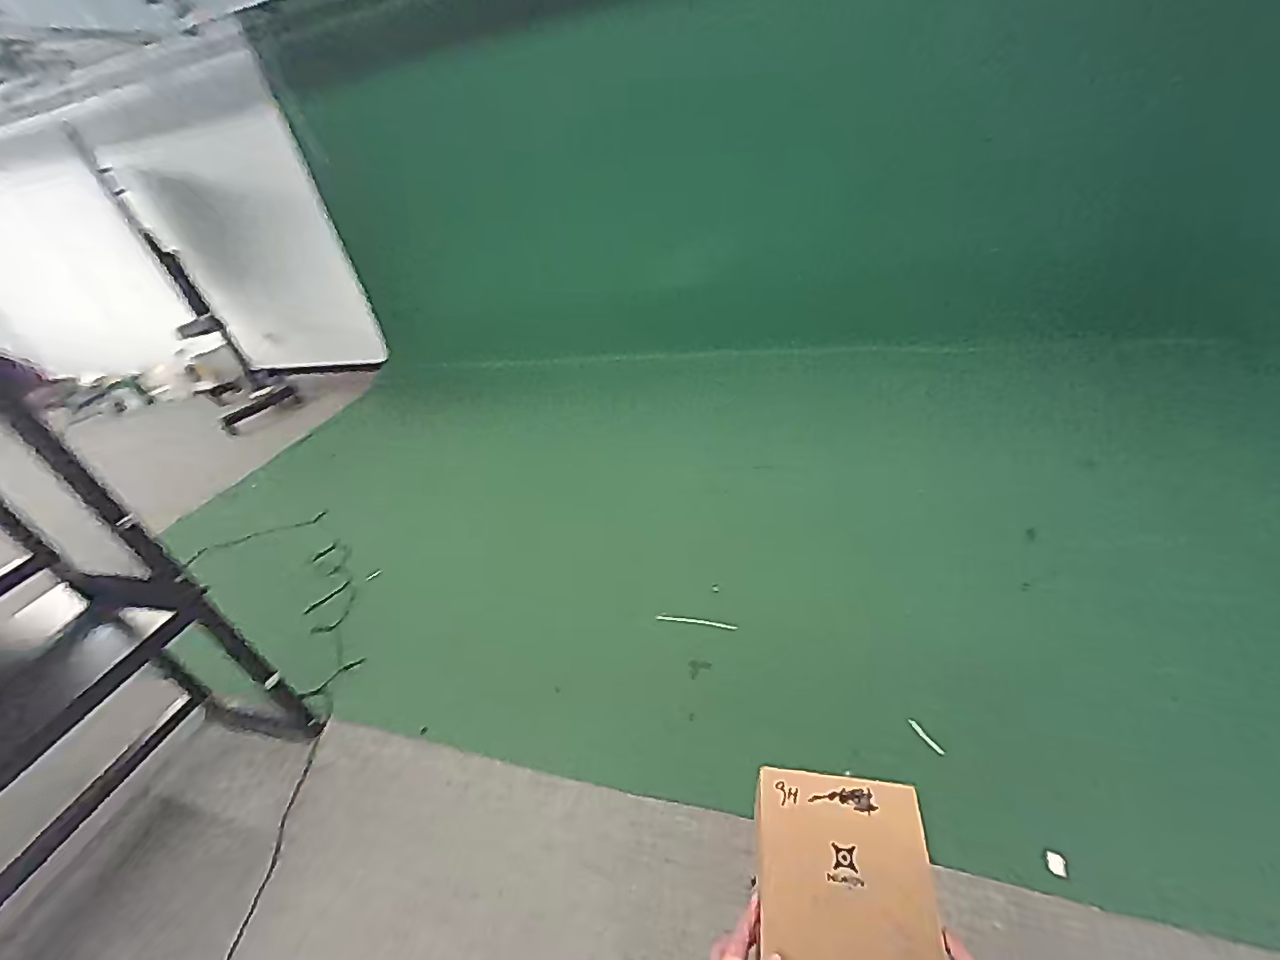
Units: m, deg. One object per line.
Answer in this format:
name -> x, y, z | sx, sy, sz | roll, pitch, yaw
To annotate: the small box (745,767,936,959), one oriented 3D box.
small box -> 0.203, 0.446, 0.593 | 0.168, 0.176, 0.179 | 2, 43, 10
